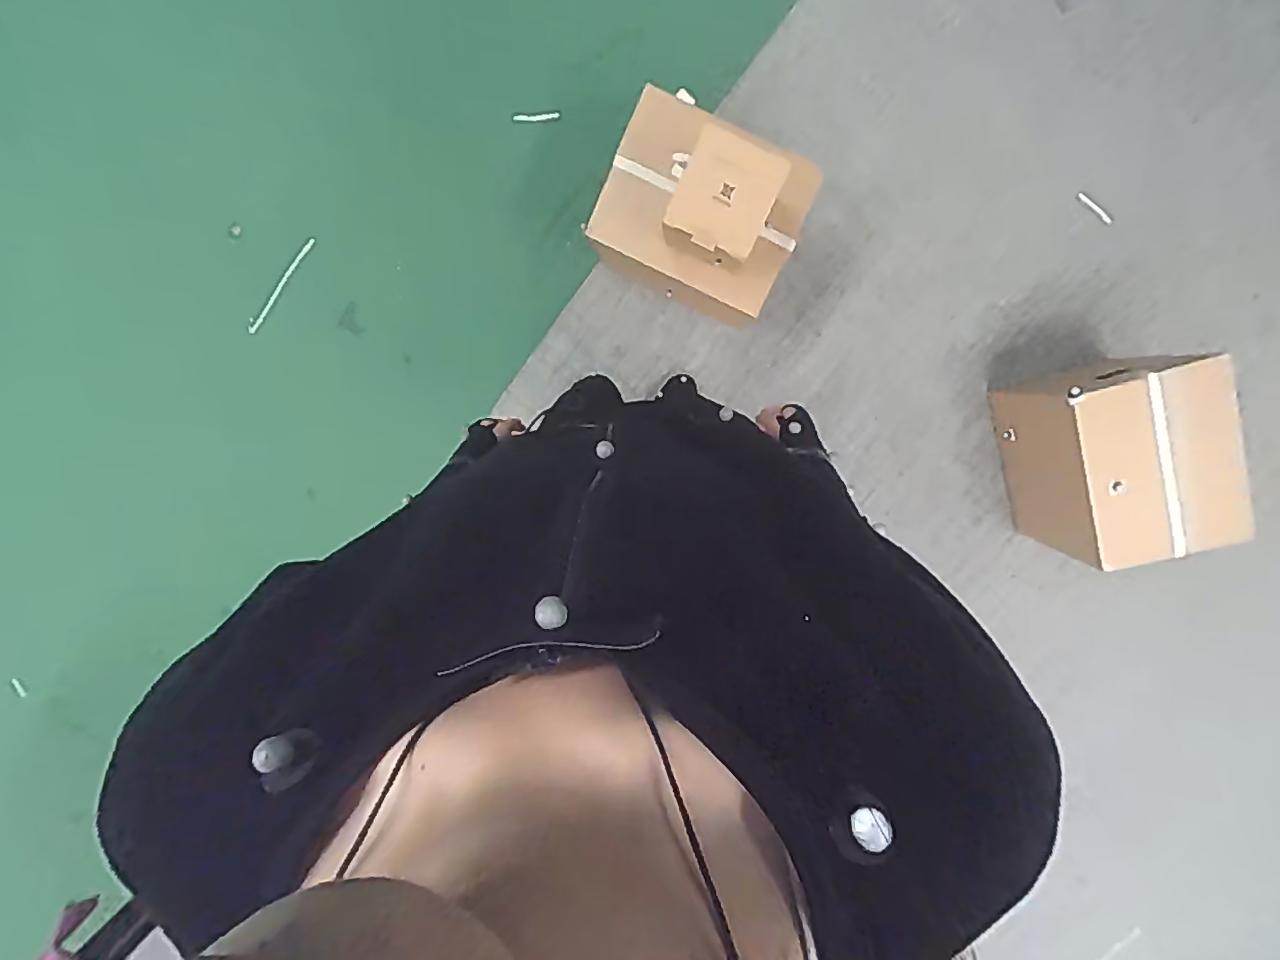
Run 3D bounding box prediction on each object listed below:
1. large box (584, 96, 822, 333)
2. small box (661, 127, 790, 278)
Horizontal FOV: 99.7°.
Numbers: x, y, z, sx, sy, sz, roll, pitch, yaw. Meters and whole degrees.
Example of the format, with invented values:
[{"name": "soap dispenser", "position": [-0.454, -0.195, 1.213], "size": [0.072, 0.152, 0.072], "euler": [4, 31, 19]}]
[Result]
[{"name": "large box", "position": [0.136, -0.571, 1.245], "size": [0.408, 0.320, 0.320], "euler": [26, 99, 0]}, {"name": "small box", "position": [0.153, -0.500, 1.007], "size": [0.168, 0.176, 0.179], "euler": [26, 101, -1]}]
